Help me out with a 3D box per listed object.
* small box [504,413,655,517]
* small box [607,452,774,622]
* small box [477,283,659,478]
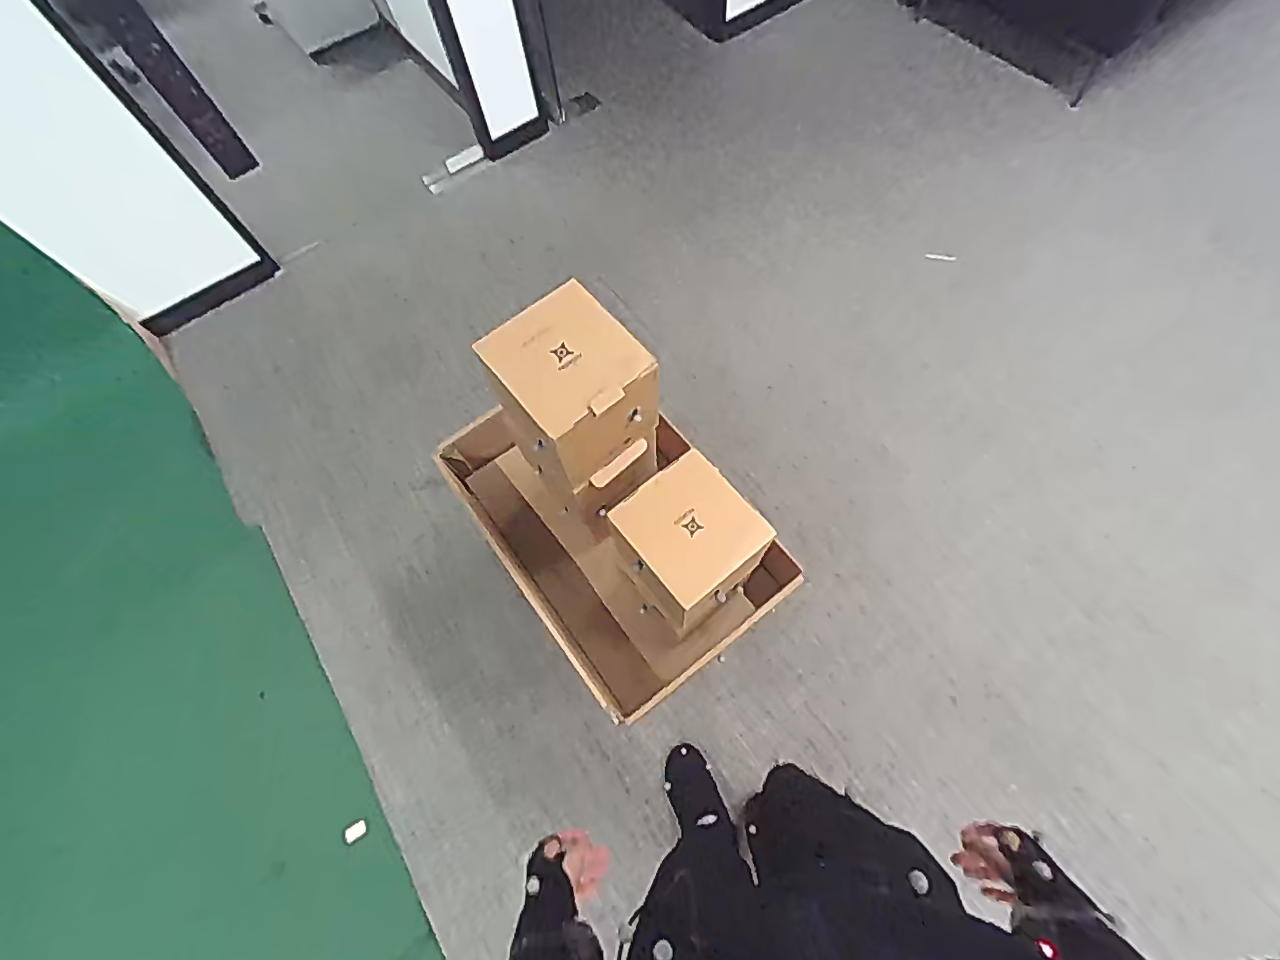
[{"bbox_3d":[-0.089,-0.058,0.893,0.168,0.176,0.179,-40,72,-13],"label":"small box"},{"bbox_3d":[0.073,0.096,0.815,0.168,0.176,0.179,-37,69,-12],"label":"small box"},{"bbox_3d":[-0.088,-0.122,0.743,0.168,0.176,0.179,-37,72,-13],"label":"small box"}]
